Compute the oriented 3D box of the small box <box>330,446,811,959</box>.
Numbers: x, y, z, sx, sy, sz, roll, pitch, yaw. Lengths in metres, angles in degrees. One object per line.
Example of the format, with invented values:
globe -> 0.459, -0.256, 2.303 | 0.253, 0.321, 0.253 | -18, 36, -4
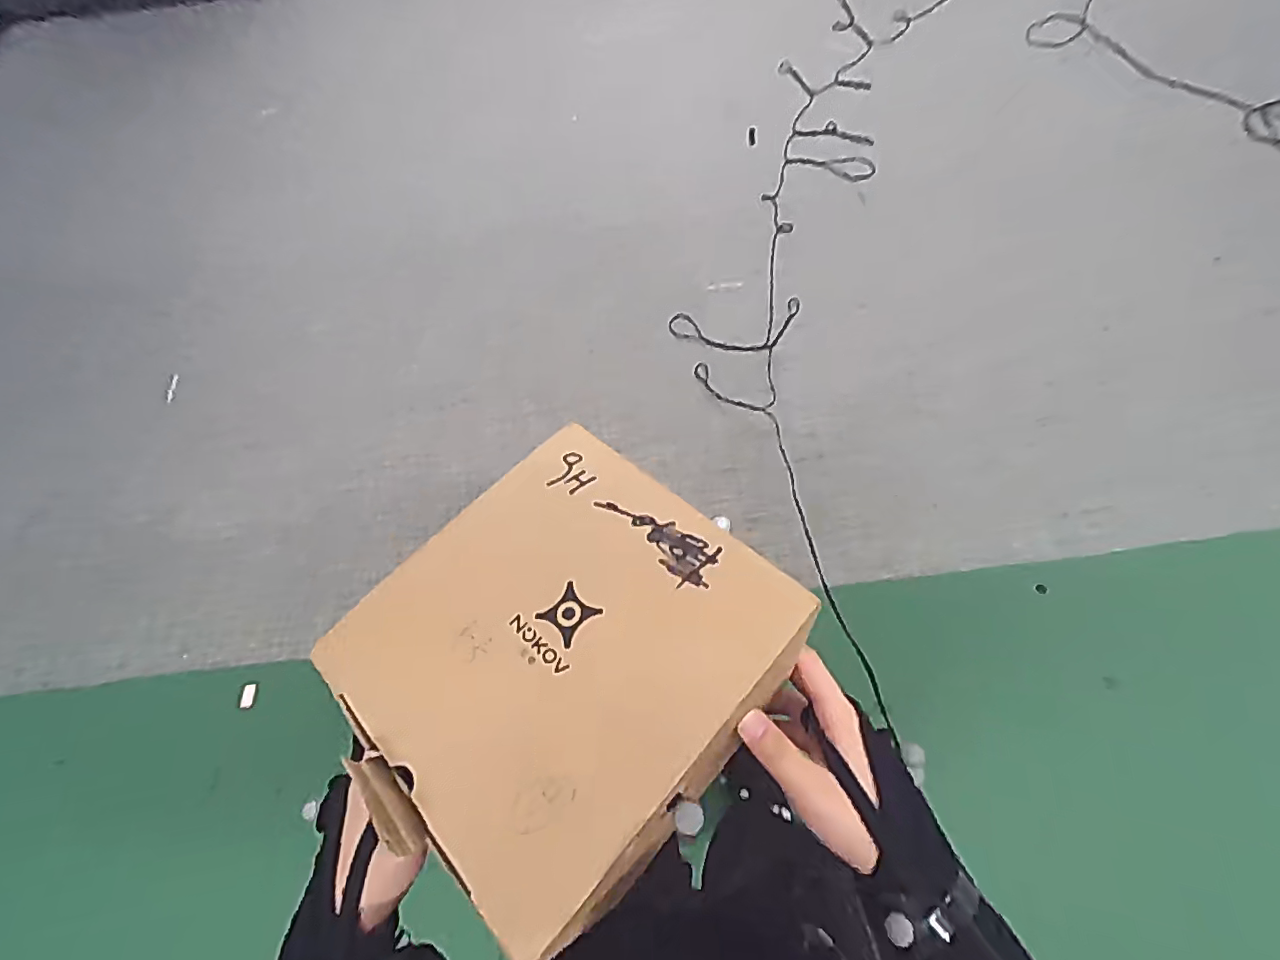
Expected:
small box -> -0.025, 0.121, 0.317 | 0.168, 0.176, 0.179 | 36, 70, 27
